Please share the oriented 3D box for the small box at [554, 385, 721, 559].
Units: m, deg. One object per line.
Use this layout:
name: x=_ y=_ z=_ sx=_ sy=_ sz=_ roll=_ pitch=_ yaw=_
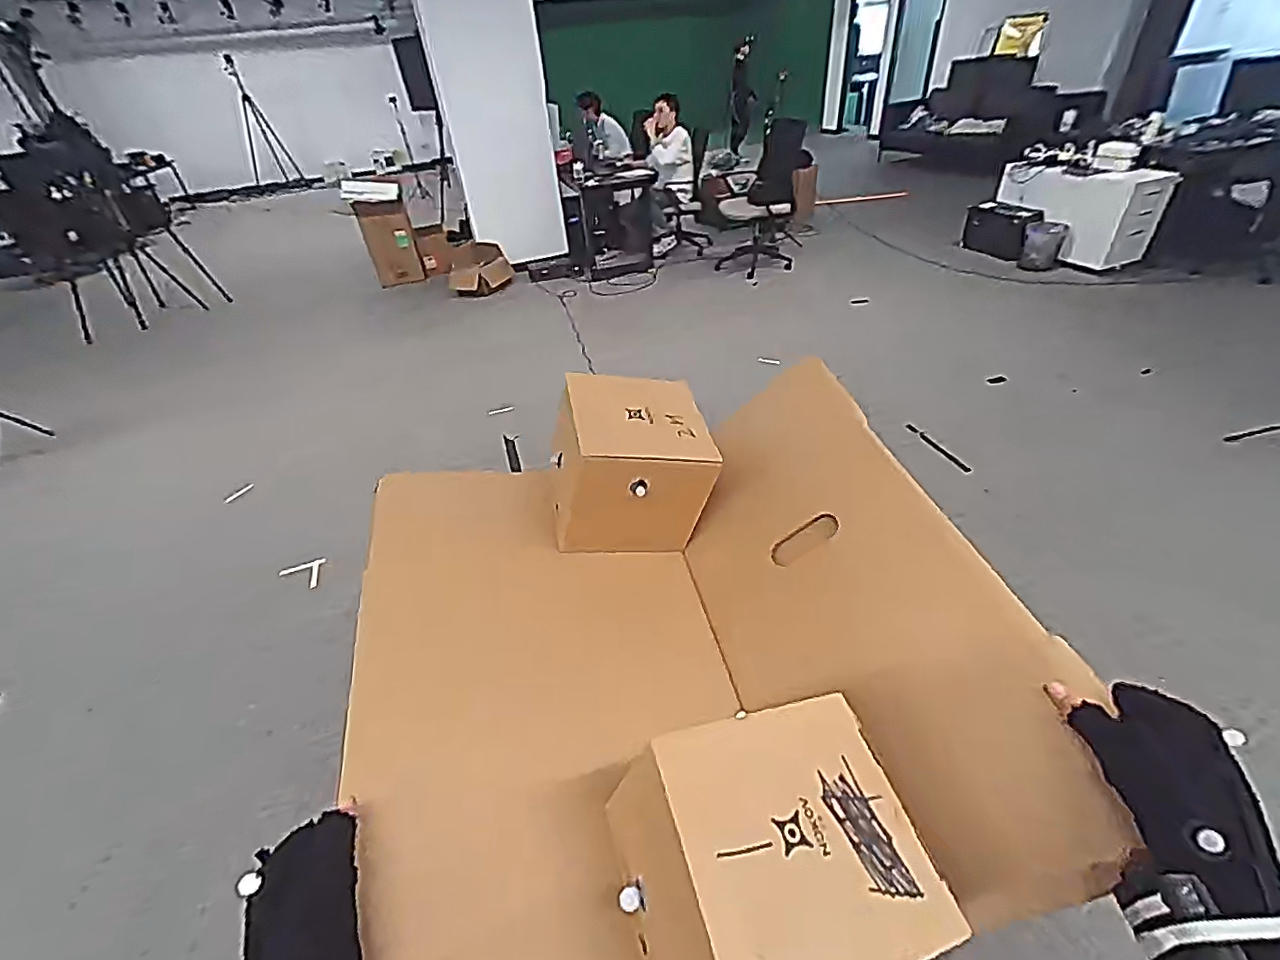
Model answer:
small box: x=-0.018 y=-0.007 z=0.725 sx=0.179 sy=0.176 sz=0.168 roll=3 pitch=43 yaw=-18
